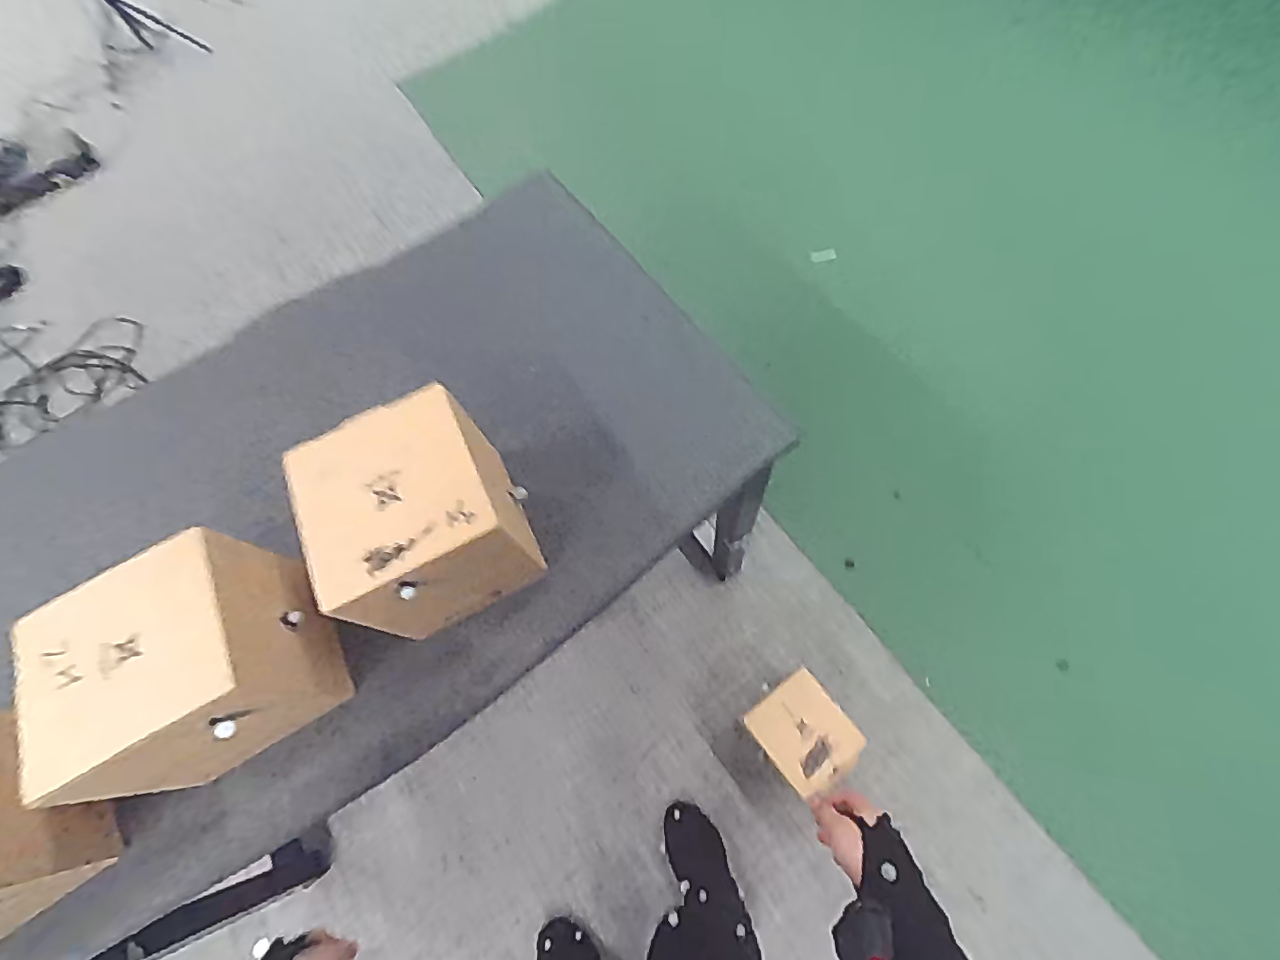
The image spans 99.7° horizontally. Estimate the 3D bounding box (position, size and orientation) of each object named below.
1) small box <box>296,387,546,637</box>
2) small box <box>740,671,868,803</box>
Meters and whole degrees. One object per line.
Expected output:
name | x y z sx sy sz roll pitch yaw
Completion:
small box | -0.219 0.042 0.569 0.168 0.176 0.179 -26 65 -5
small box | 0.325 0.517 1.109 0.168 0.176 0.179 -36 68 -9
